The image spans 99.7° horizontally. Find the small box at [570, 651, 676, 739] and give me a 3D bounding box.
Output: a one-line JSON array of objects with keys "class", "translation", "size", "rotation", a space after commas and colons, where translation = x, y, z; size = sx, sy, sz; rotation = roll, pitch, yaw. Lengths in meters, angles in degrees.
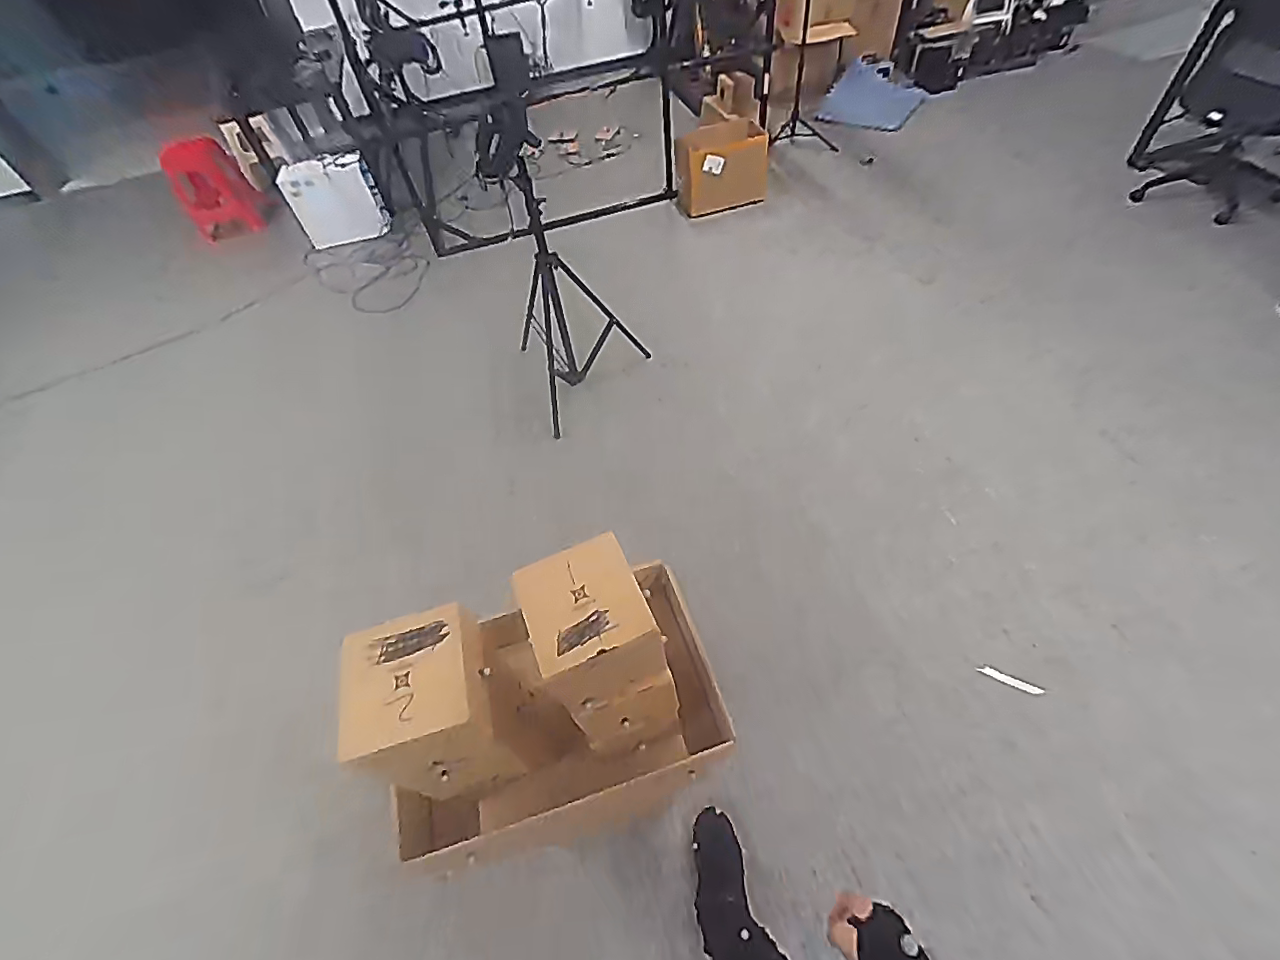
[{"class": "small box", "translation": [-0.045, 0.322, 0.945], "size": [0.168, 0.176, 0.179], "rotation": [-20, 53, -7]}]

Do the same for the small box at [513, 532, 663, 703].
[{"class": "small box", "translation": [-0.073, 0.216, 0.822], "size": [0.168, 0.176, 0.179], "rotation": [-22, 53, -9]}]

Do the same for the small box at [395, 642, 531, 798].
[{"class": "small box", "translation": [-0.295, 0.407, 0.912], "size": [0.168, 0.176, 0.179], "rotation": [-17, 51, -5]}]
